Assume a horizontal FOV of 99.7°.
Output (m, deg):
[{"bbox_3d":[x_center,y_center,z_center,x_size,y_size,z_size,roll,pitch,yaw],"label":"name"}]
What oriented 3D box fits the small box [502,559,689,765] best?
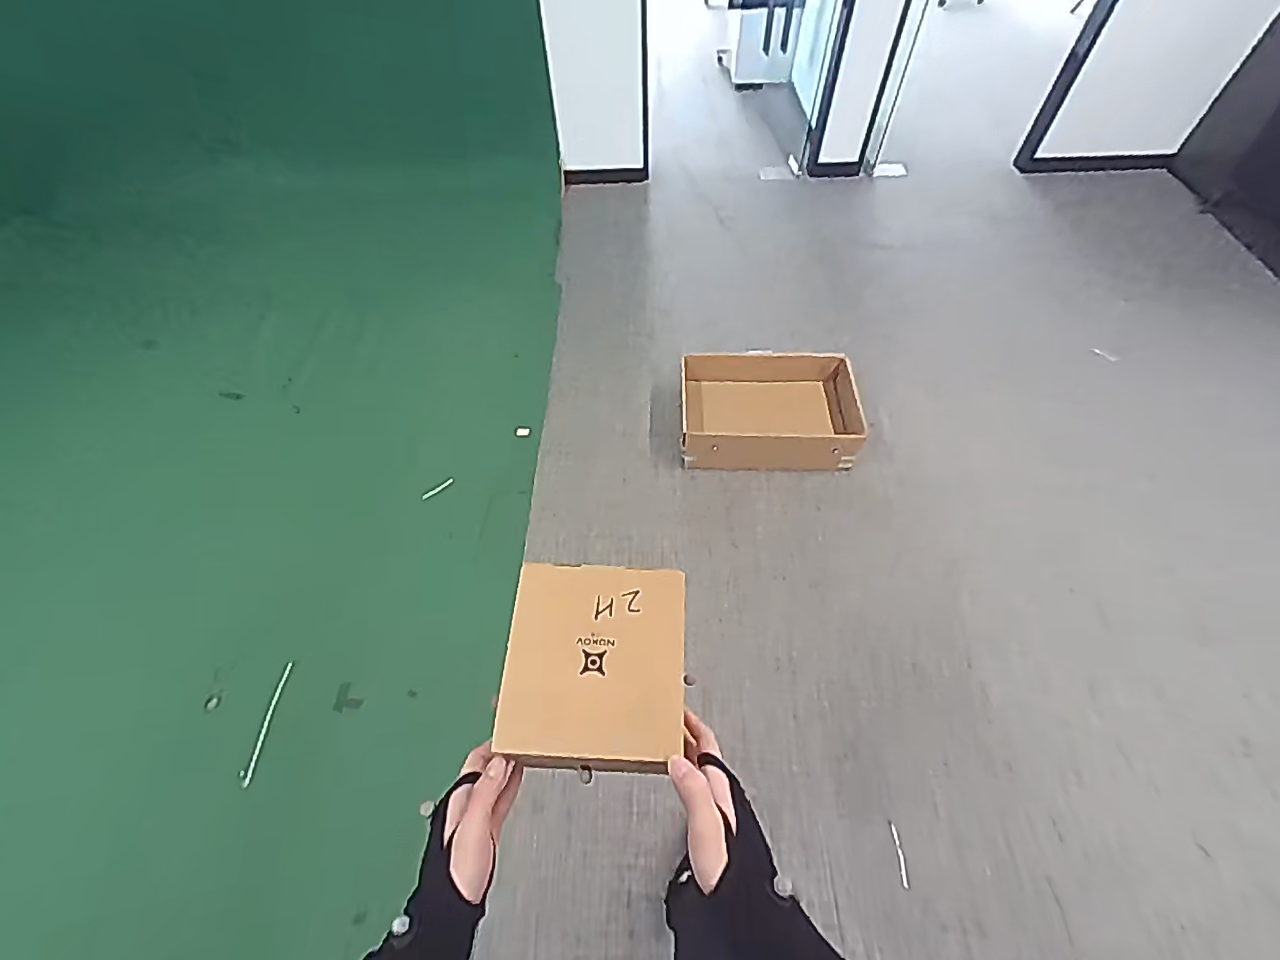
[{"bbox_3d":[-0.037,0.201,0.581,0.168,0.176,0.179,3,58,0],"label":"small box"}]
